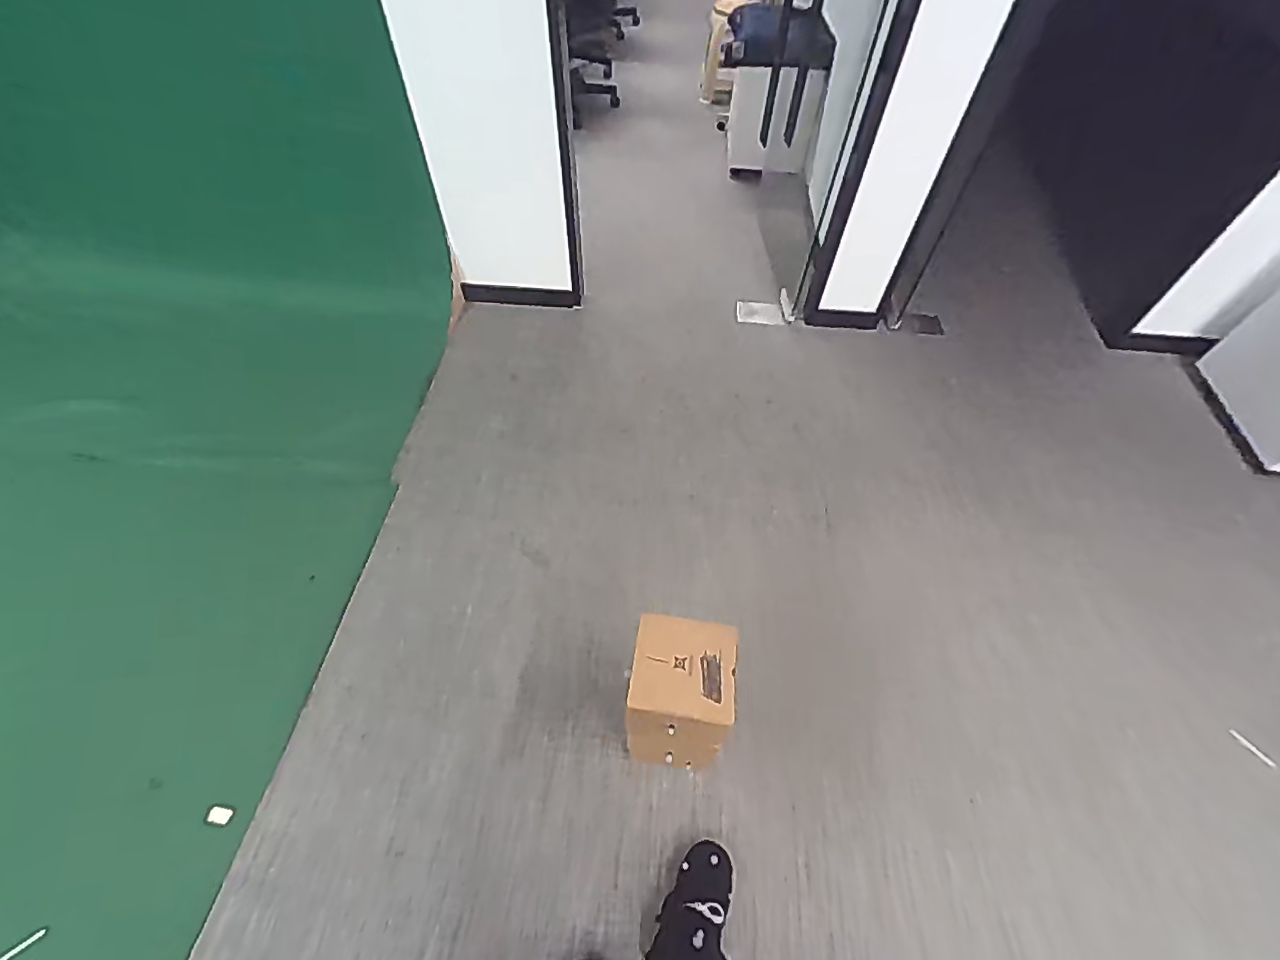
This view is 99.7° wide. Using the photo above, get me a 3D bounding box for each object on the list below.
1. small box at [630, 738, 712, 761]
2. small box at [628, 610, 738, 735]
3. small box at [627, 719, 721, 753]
[{"bbox_3d":[0.074,0.541,1.249,0.179,0.176,0.168,5,54,4],"label":"small box"},{"bbox_3d":[0.075,0.353,0.979,0.179,0.176,0.168,6,55,2],"label":"small box"},{"bbox_3d":[0.075,0.451,1.113,0.179,0.176,0.168,10,55,5],"label":"small box"}]
